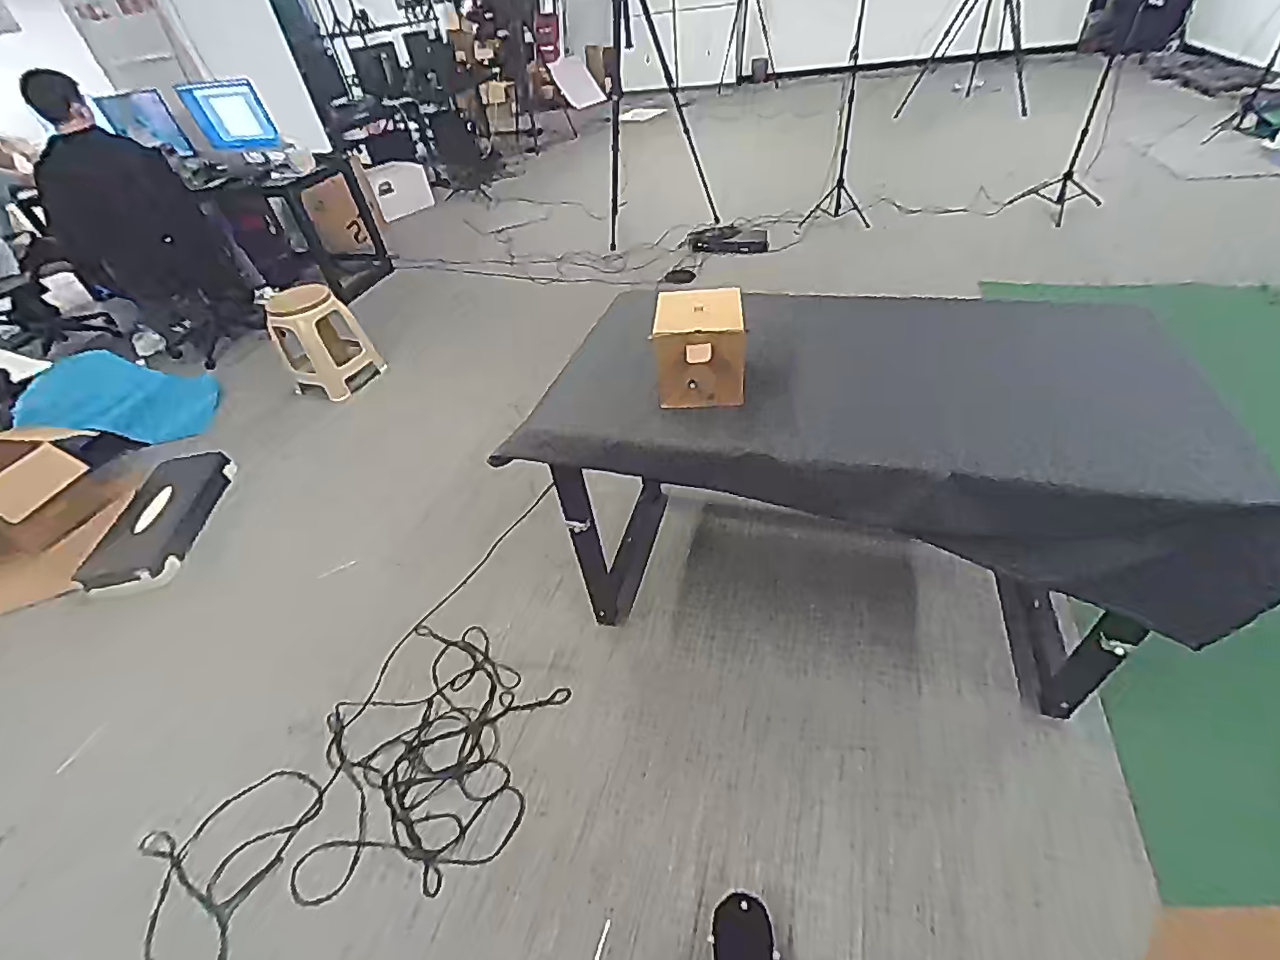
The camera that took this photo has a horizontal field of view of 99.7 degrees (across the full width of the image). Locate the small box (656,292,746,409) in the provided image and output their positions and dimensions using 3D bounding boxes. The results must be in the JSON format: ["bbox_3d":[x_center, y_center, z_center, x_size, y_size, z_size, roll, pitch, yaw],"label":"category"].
[{"bbox_3d":[0.123,-0.259,1.086,0.168,0.176,0.179,-1,43,7],"label":"small box"}]
